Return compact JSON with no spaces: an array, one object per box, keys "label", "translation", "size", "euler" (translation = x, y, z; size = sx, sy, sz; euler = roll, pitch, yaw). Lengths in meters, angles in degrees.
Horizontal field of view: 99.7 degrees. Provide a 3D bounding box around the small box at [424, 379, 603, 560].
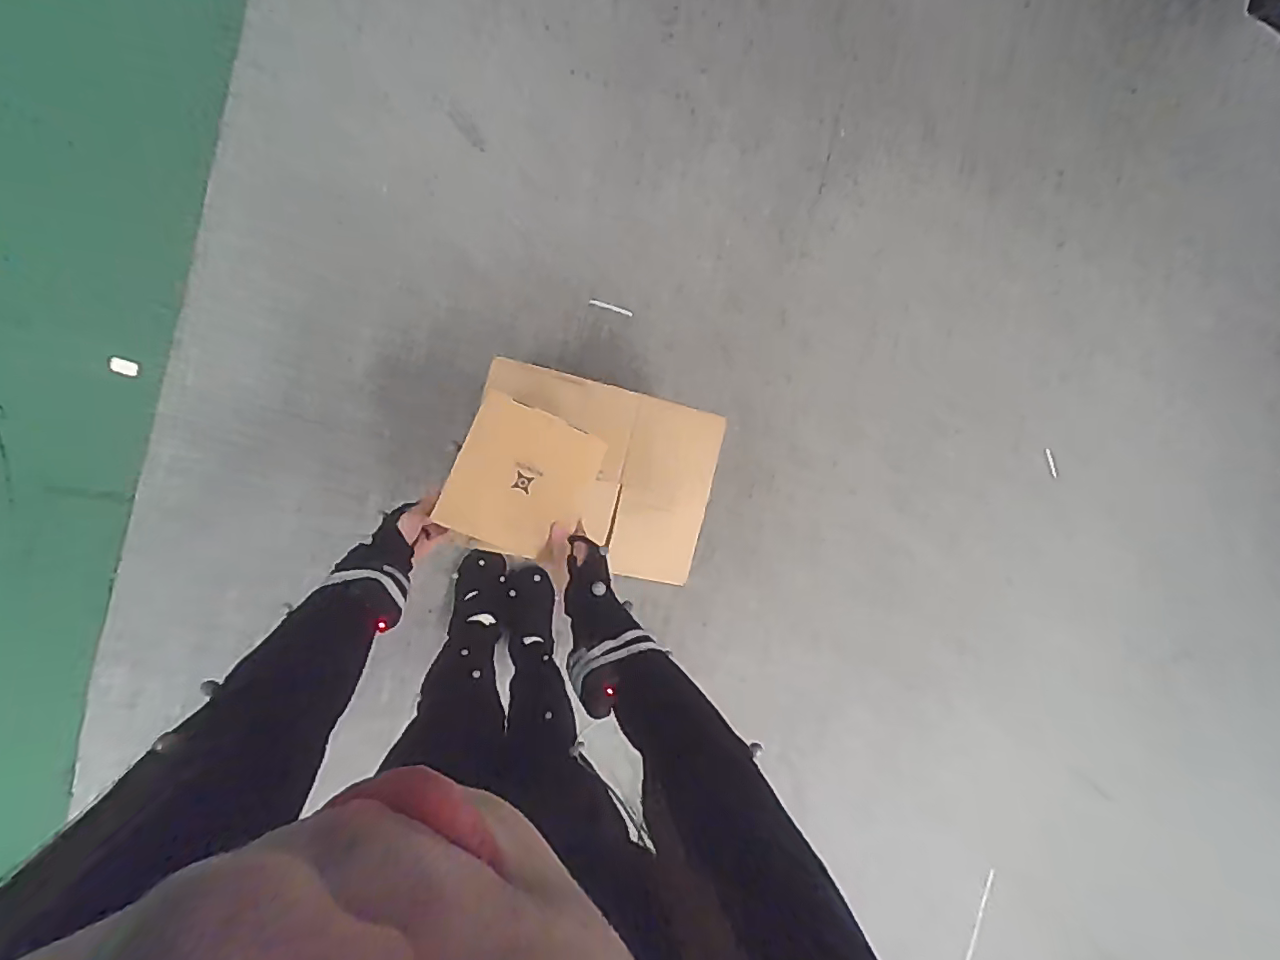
[{"label":"small box","translation":[-0.172,-0.007,0.729],"size":[0.168,0.176,0.179],"euler":[24,79,-17]}]
